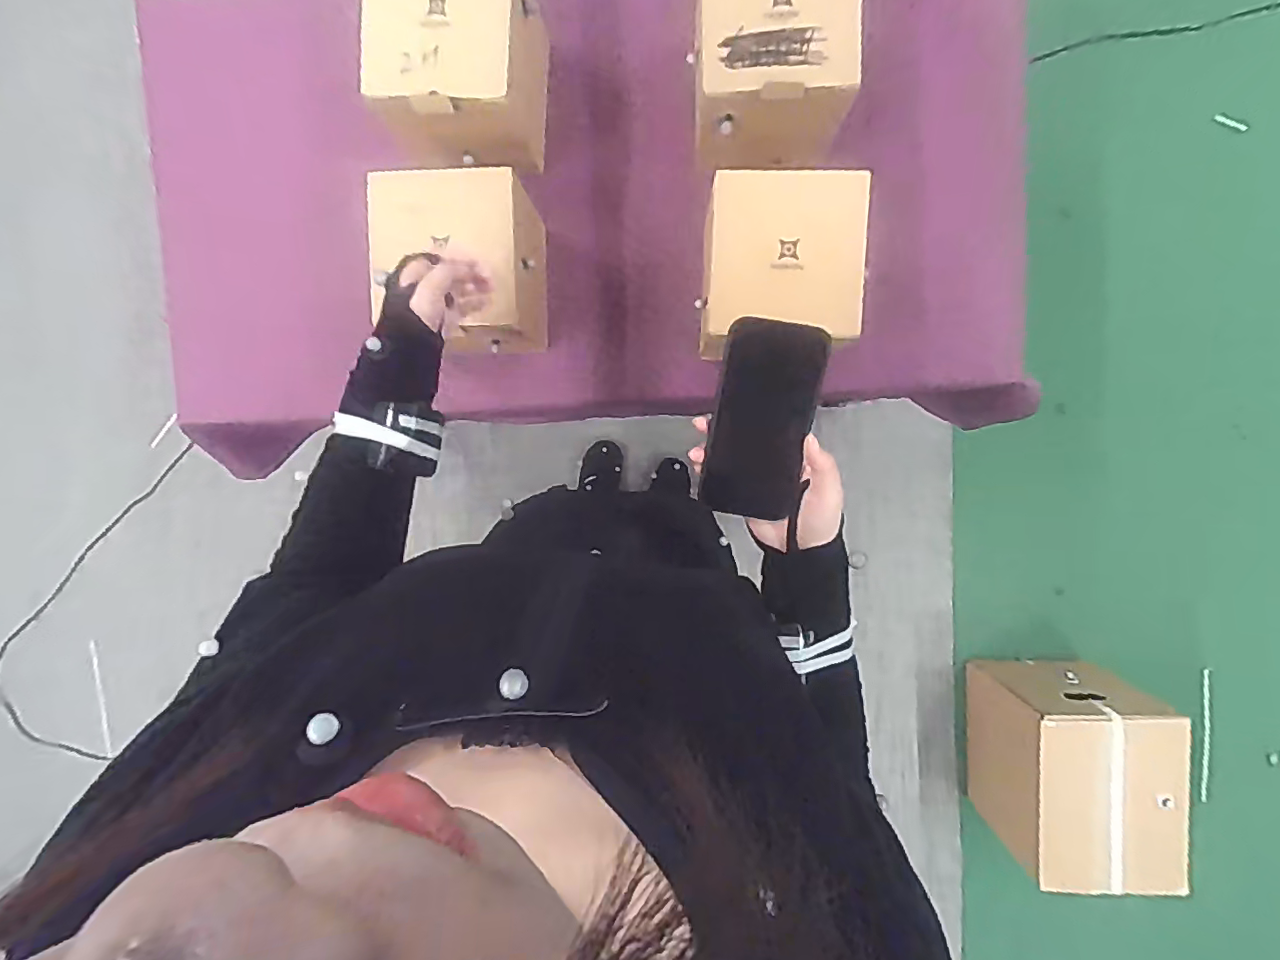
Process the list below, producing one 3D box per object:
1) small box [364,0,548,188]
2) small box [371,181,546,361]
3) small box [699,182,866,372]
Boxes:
[{"bbox_3d":[-0.215,-0.496,0.671,0.168,0.176,0.179,4,94,3],"label":"small box"},{"bbox_3d":[-0.218,-0.250,0.687,0.168,0.176,0.179,0,92,3],"label":"small box"},{"bbox_3d":[0.162,-0.236,0.665,0.168,0.176,0.179,2,94,3],"label":"small box"}]
